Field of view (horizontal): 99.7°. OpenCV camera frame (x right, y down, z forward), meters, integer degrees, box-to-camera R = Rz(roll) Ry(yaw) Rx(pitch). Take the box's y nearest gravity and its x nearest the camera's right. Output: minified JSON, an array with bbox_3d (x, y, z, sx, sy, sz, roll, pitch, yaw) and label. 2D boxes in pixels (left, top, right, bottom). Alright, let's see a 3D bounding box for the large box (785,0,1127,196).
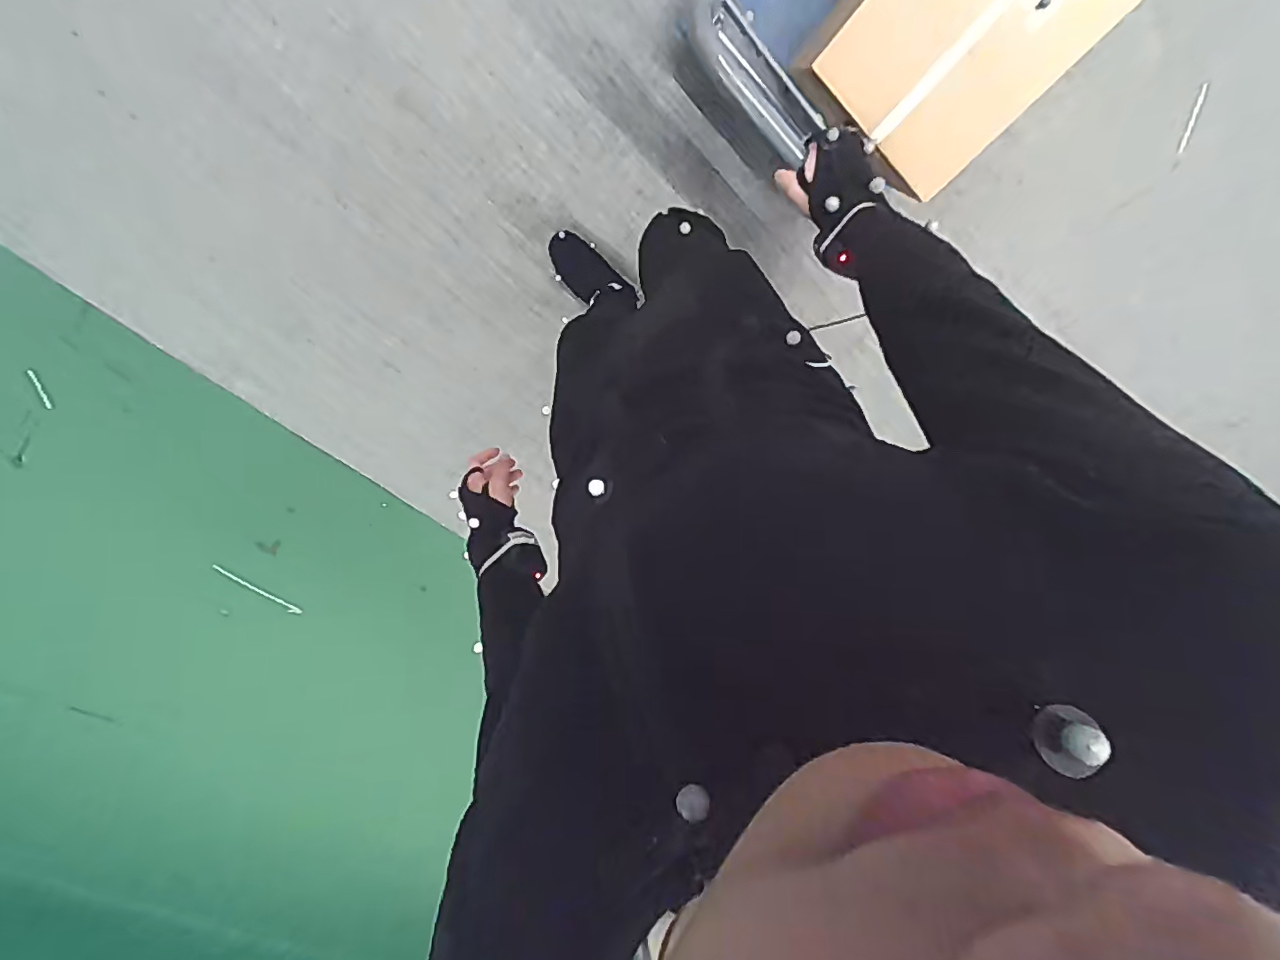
[{"bbox_3d":[0.520,-0.788,0.937,0.320,0.320,0.408,35,121,-20],"label":"large box"}]
